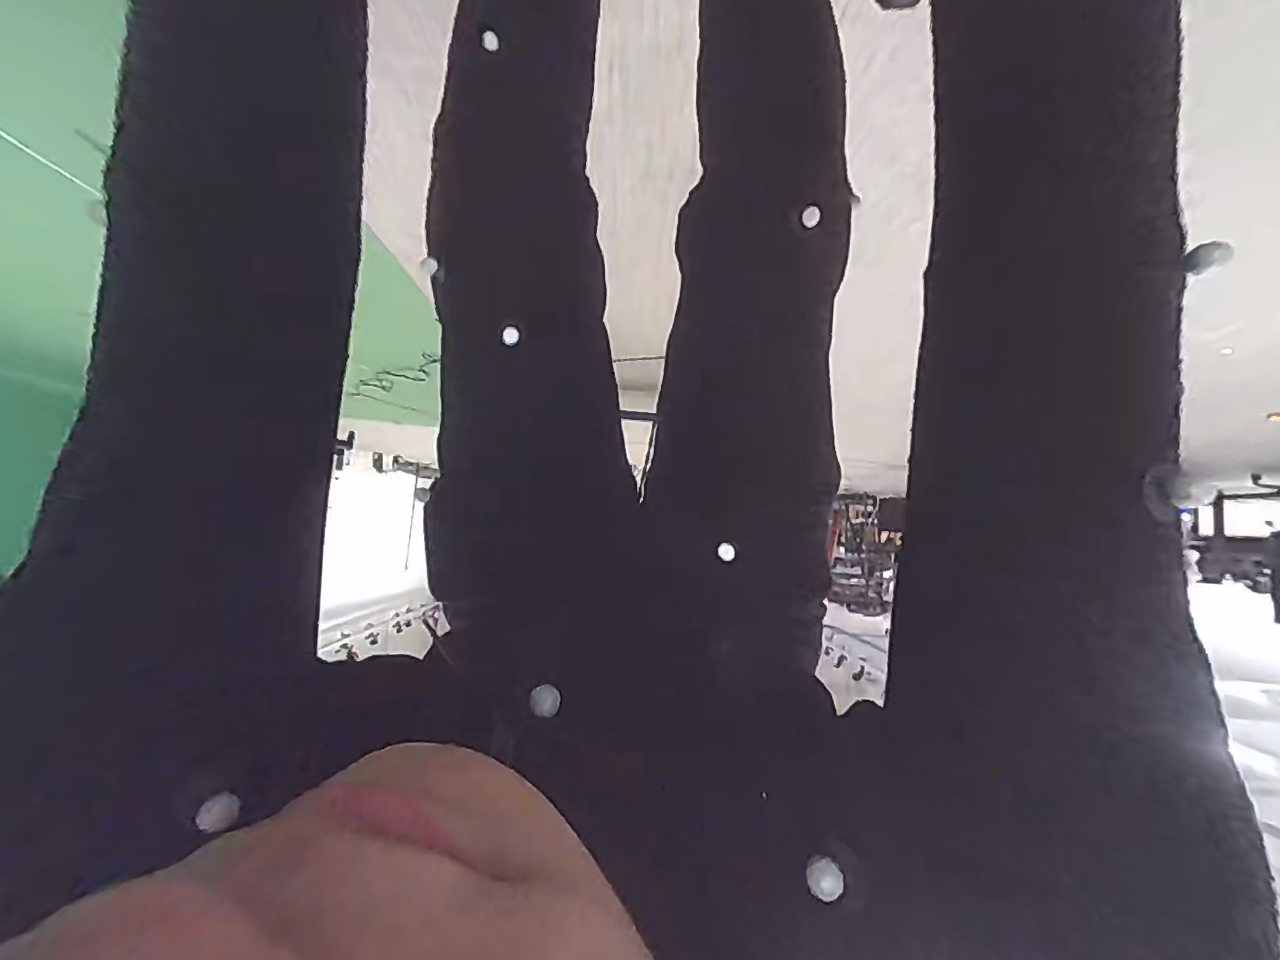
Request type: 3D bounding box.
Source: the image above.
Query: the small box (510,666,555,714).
[{"bbox_3d":[-0.497,0.971,2.518,0.179,0.176,0.168,3,176,-1],"label":"small box"}]
